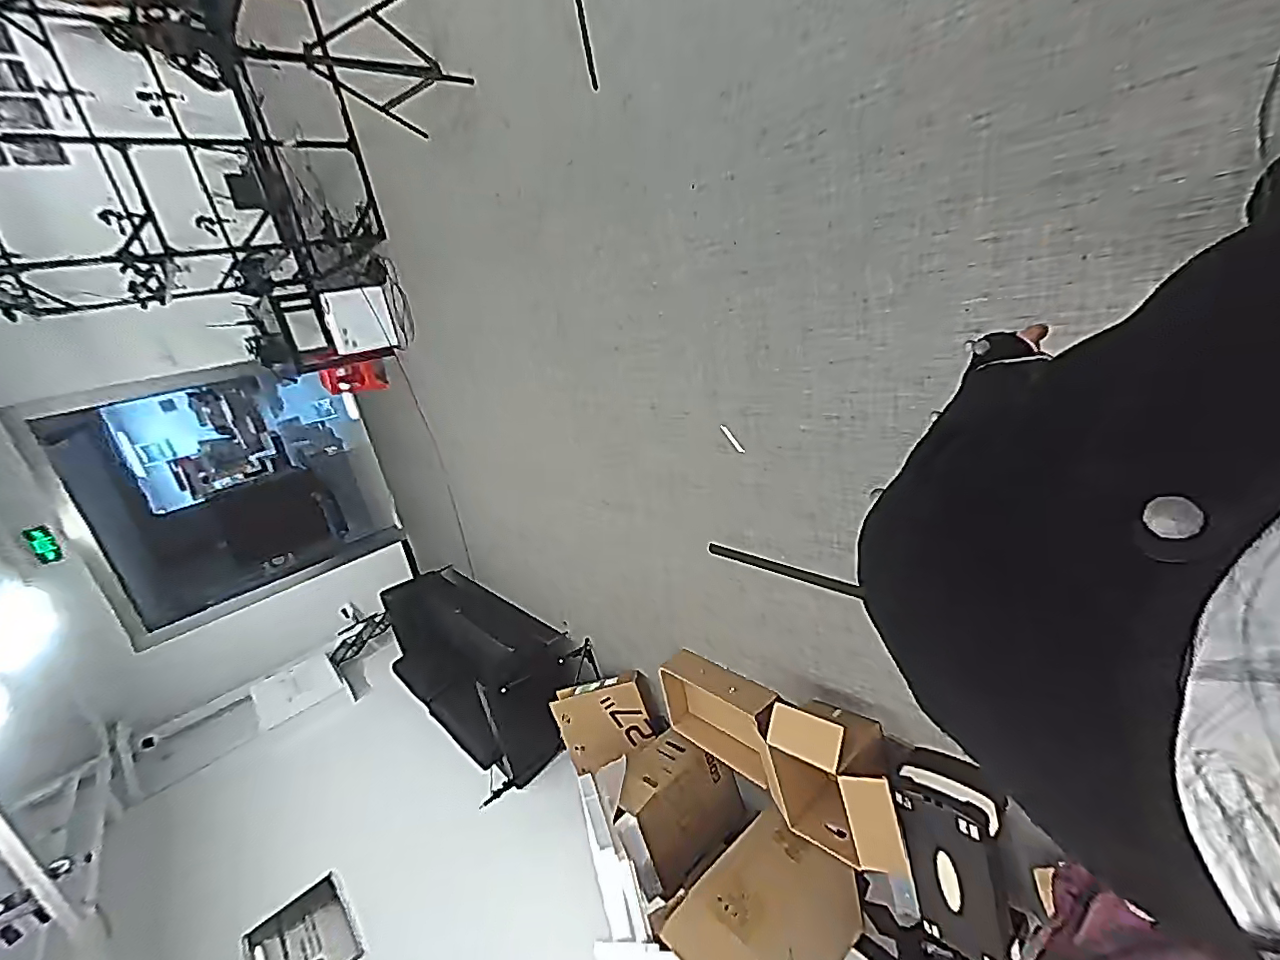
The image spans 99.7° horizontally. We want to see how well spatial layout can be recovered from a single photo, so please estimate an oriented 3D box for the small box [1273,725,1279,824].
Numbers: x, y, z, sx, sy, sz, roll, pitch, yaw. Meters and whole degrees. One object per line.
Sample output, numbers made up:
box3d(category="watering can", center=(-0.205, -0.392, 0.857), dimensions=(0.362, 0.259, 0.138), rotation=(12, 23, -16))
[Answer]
box3d(category="small box", center=(0.922, 0.350, 0.658), dimensions=(0.179, 0.176, 0.168), rotation=(11, 119, 49))
